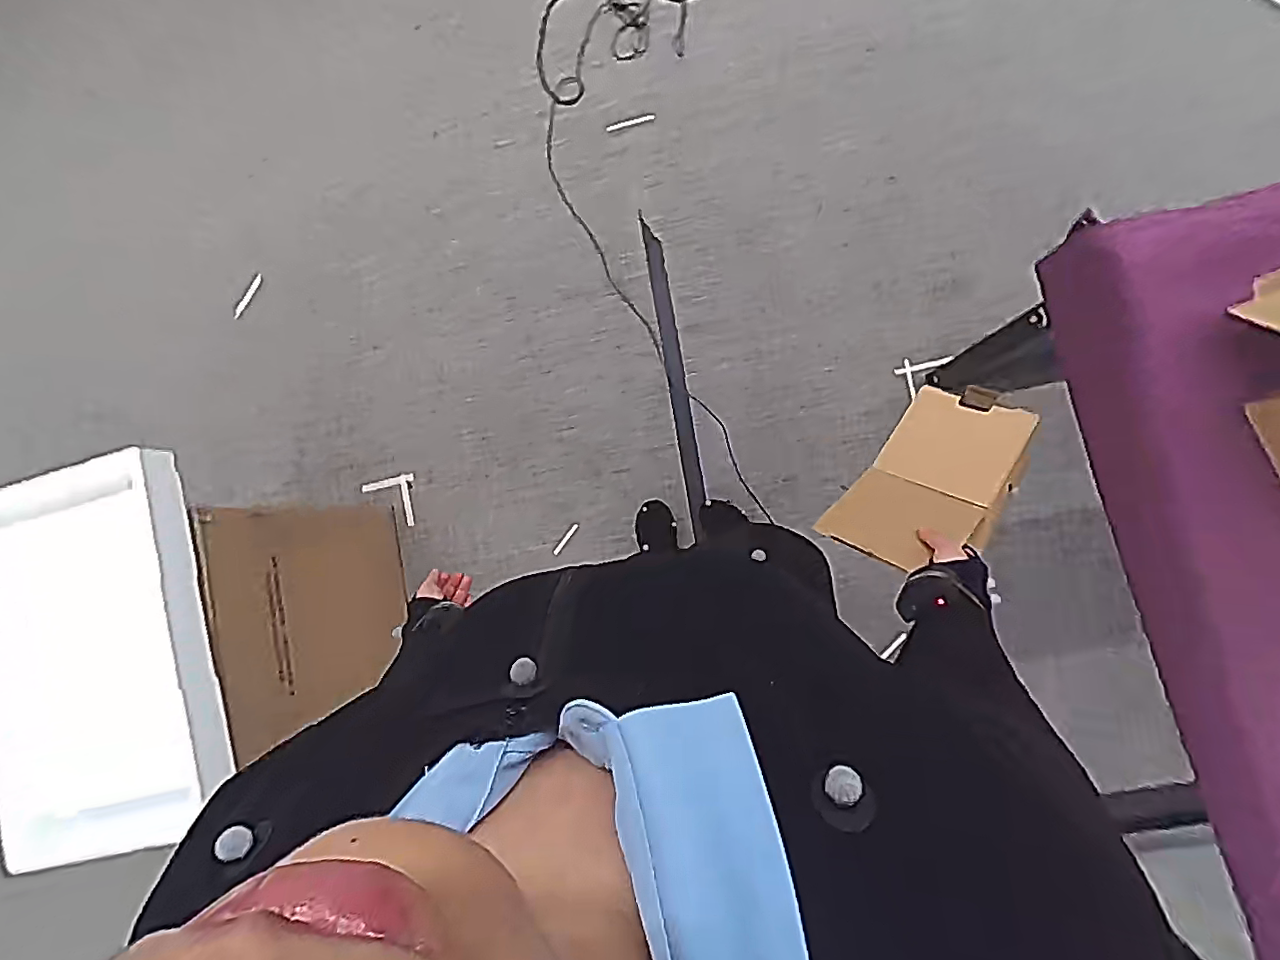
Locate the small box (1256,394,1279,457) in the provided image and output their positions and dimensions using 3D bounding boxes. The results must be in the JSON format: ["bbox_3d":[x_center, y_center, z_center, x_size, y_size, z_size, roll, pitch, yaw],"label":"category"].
[{"bbox_3d":[0.825,-0.045,0.557,0.168,0.176,0.179,-22,85,8],"label":"small box"}]
